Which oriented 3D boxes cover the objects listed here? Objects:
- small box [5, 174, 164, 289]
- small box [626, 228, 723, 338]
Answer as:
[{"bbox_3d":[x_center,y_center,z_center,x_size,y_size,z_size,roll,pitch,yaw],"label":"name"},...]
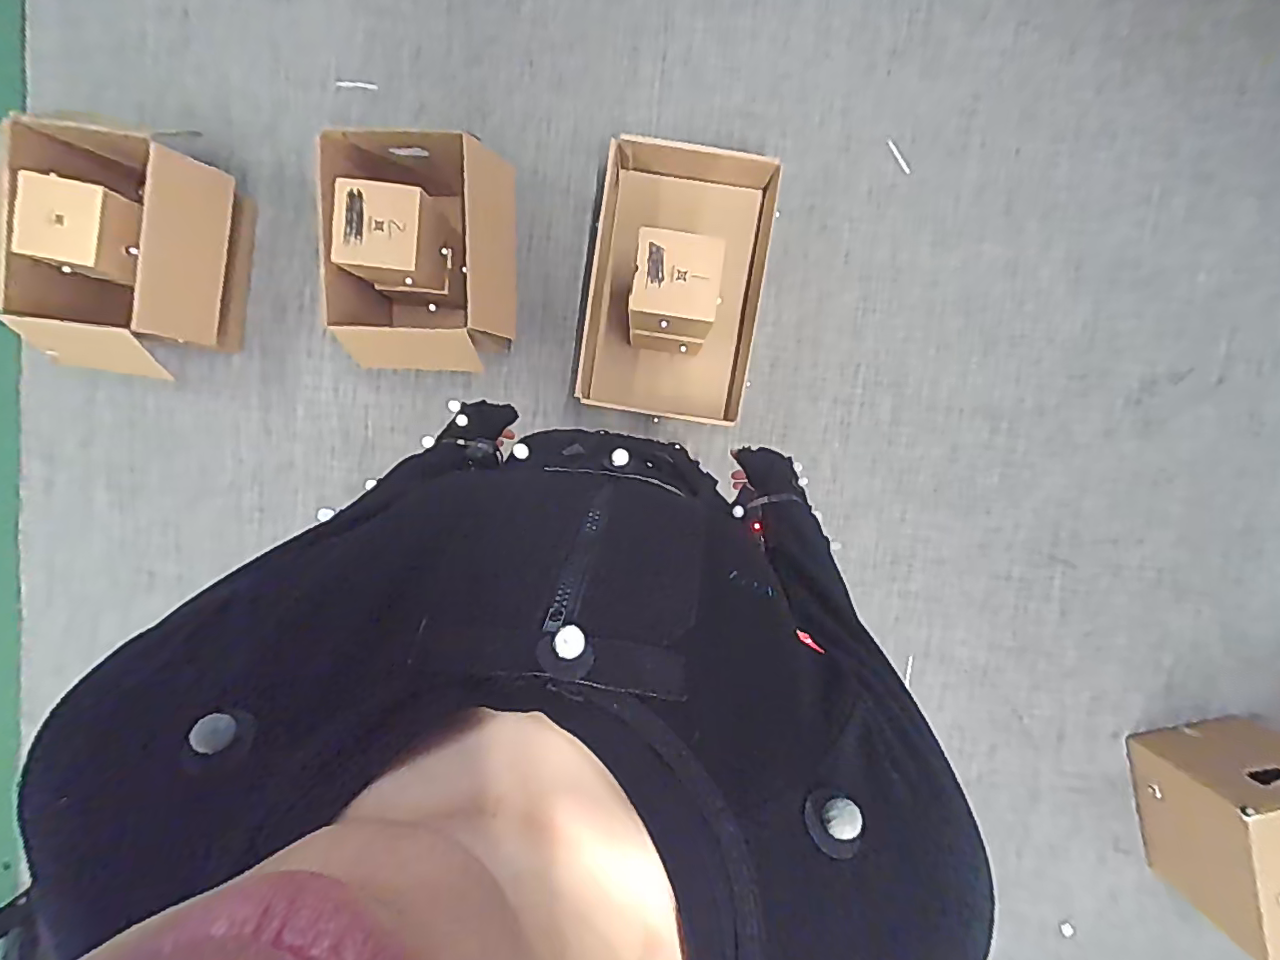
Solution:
[{"bbox_3d":[-1.196,-0.529,1.178,0.179,0.176,0.168,10,94,-1],"label":"small box"},{"bbox_3d":[0.067,-0.410,1.149,0.179,0.176,0.168,8,93,-2],"label":"small box"}]
